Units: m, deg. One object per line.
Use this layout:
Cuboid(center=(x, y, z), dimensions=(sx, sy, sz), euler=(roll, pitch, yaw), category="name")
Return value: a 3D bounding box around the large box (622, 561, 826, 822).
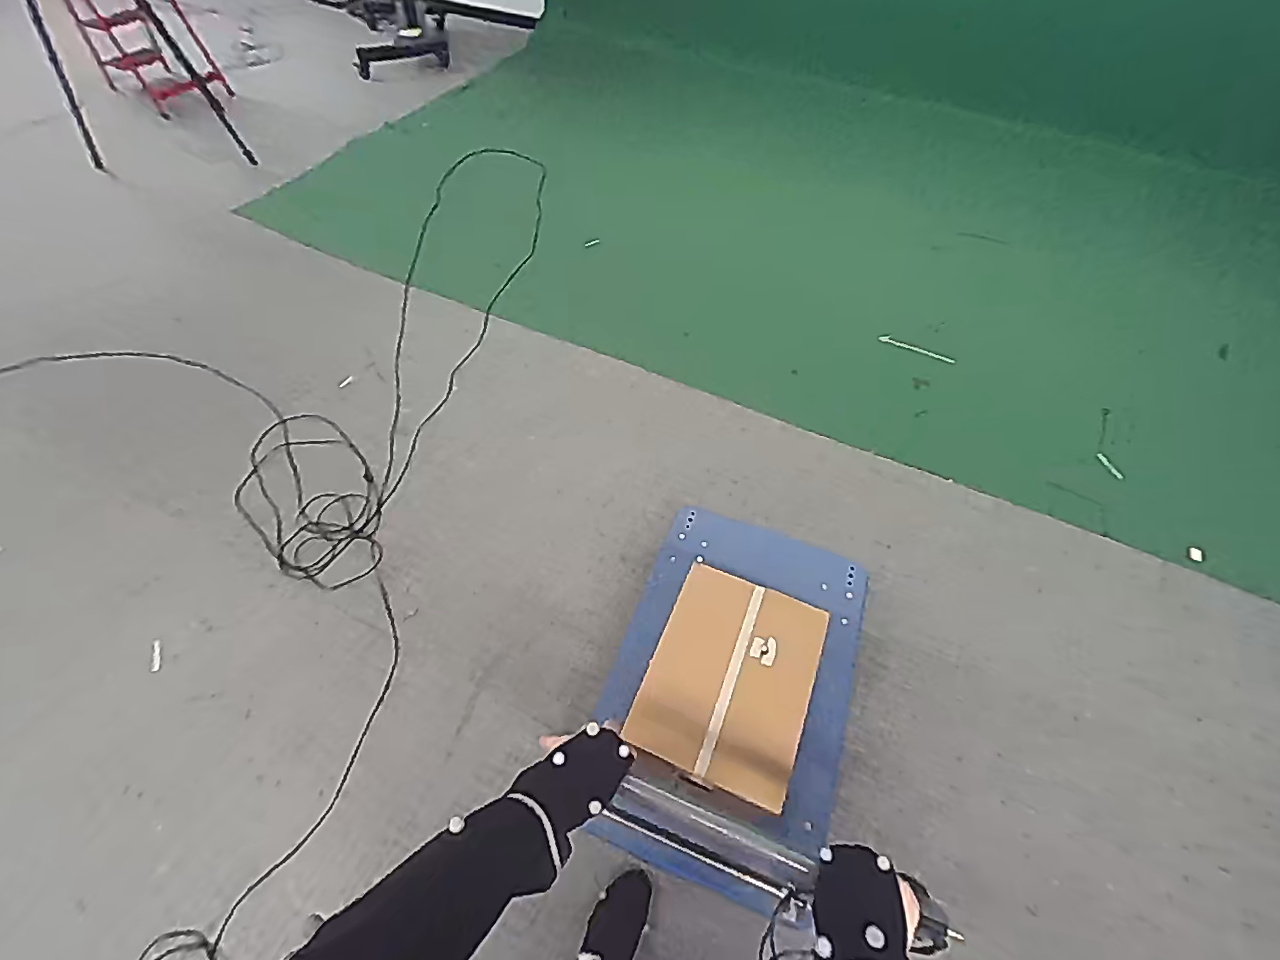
Cuboid(center=(0.177, 0.465, 1.193), dimensions=(0.320, 0.320, 0.408), euler=(21, 57, 12), category="large box")
